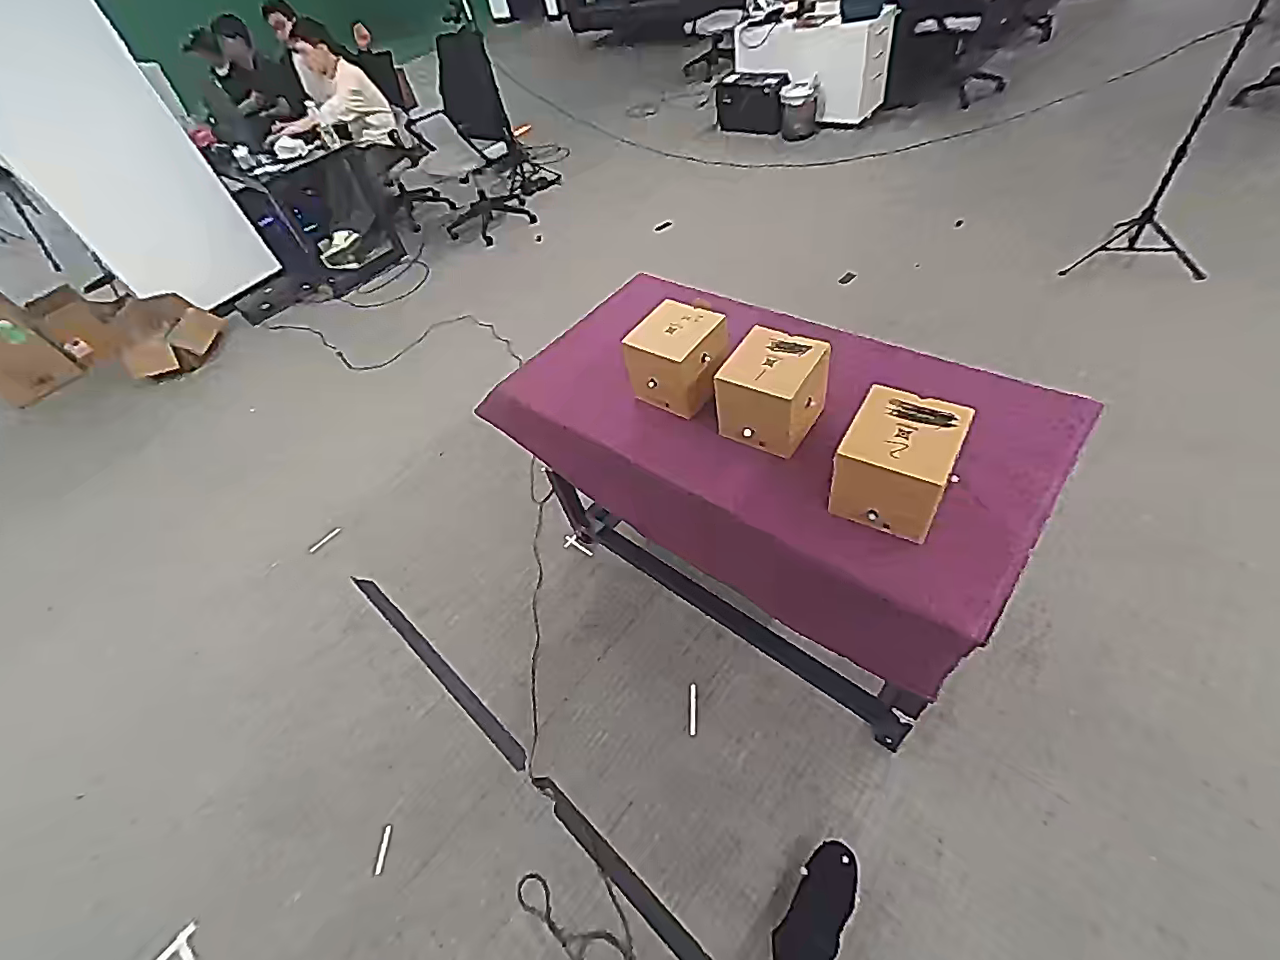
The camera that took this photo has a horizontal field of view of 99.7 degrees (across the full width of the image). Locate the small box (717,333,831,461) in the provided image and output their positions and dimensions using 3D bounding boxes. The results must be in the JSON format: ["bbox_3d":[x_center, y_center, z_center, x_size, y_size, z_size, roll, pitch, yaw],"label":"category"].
[{"bbox_3d":[0.276,-0.172,1.123,0.168,0.176,0.179,24,60,29],"label":"small box"}]

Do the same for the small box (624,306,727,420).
[{"bbox_3d":[0.092,-0.267,1.247,0.168,0.176,0.179,28,61,31],"label":"small box"}]
